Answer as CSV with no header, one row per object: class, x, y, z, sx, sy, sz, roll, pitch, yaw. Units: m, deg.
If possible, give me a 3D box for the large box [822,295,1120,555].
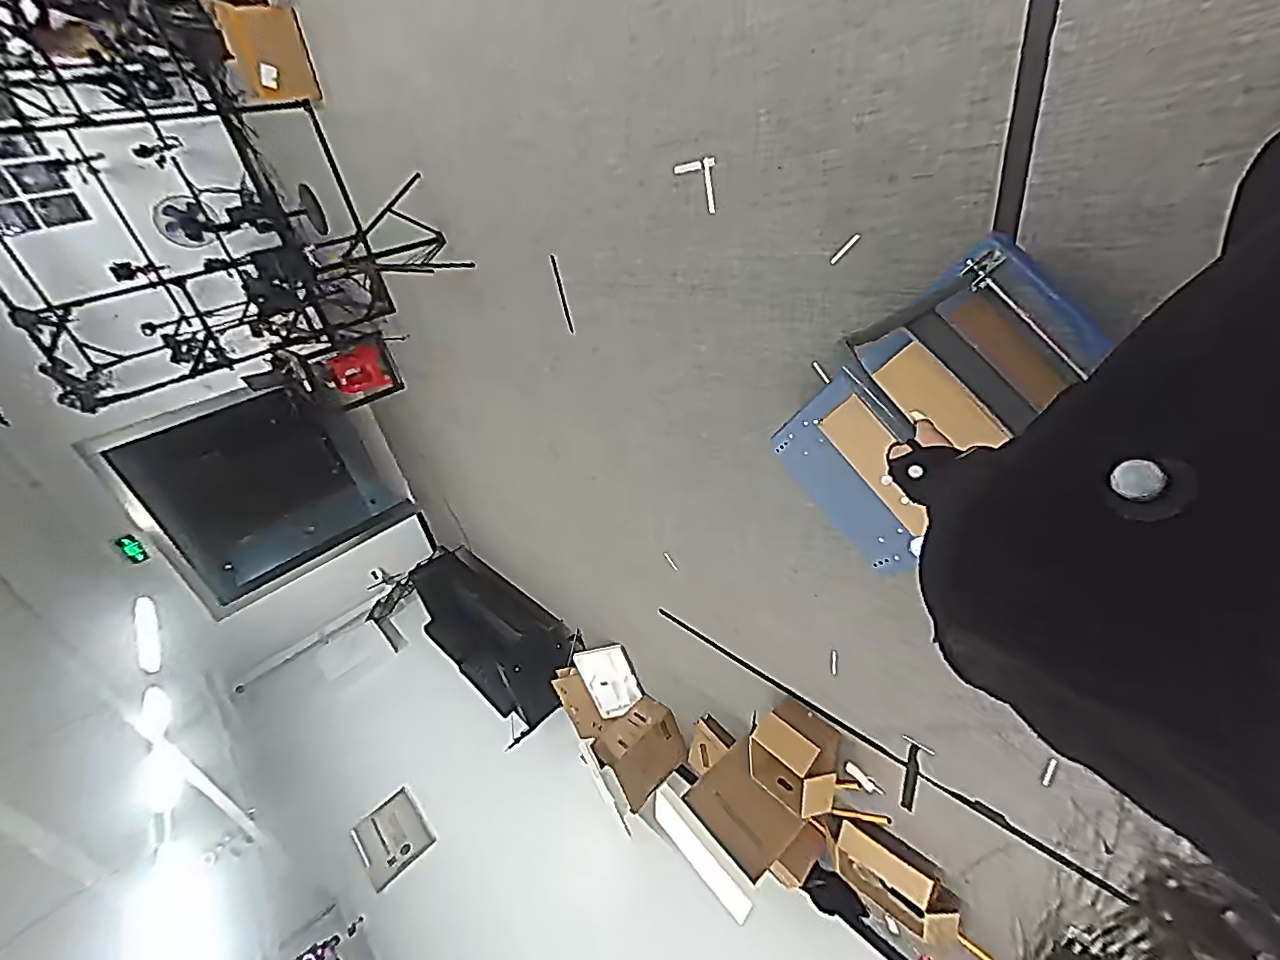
large box,0.701,-0.117,1.175,0.408,0.320,0.320,52,148,10
